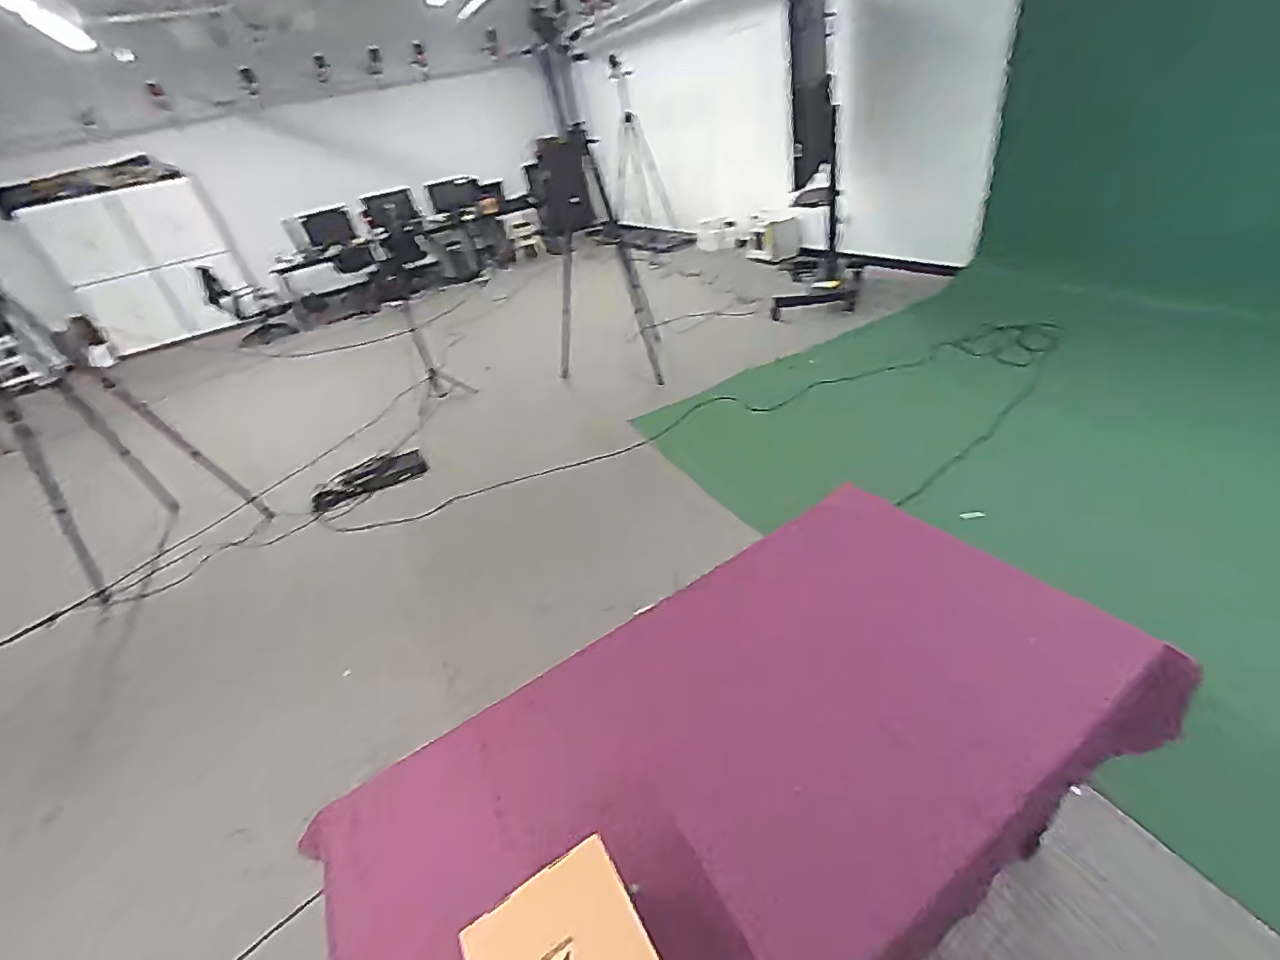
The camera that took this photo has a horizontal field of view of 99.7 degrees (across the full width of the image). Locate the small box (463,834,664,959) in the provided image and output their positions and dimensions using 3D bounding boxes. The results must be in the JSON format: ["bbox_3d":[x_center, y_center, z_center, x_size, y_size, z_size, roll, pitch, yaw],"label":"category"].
[{"bbox_3d":[-0.060,0.534,0.567,0.168,0.176,0.179,-27,37,-19],"label":"small box"}]
